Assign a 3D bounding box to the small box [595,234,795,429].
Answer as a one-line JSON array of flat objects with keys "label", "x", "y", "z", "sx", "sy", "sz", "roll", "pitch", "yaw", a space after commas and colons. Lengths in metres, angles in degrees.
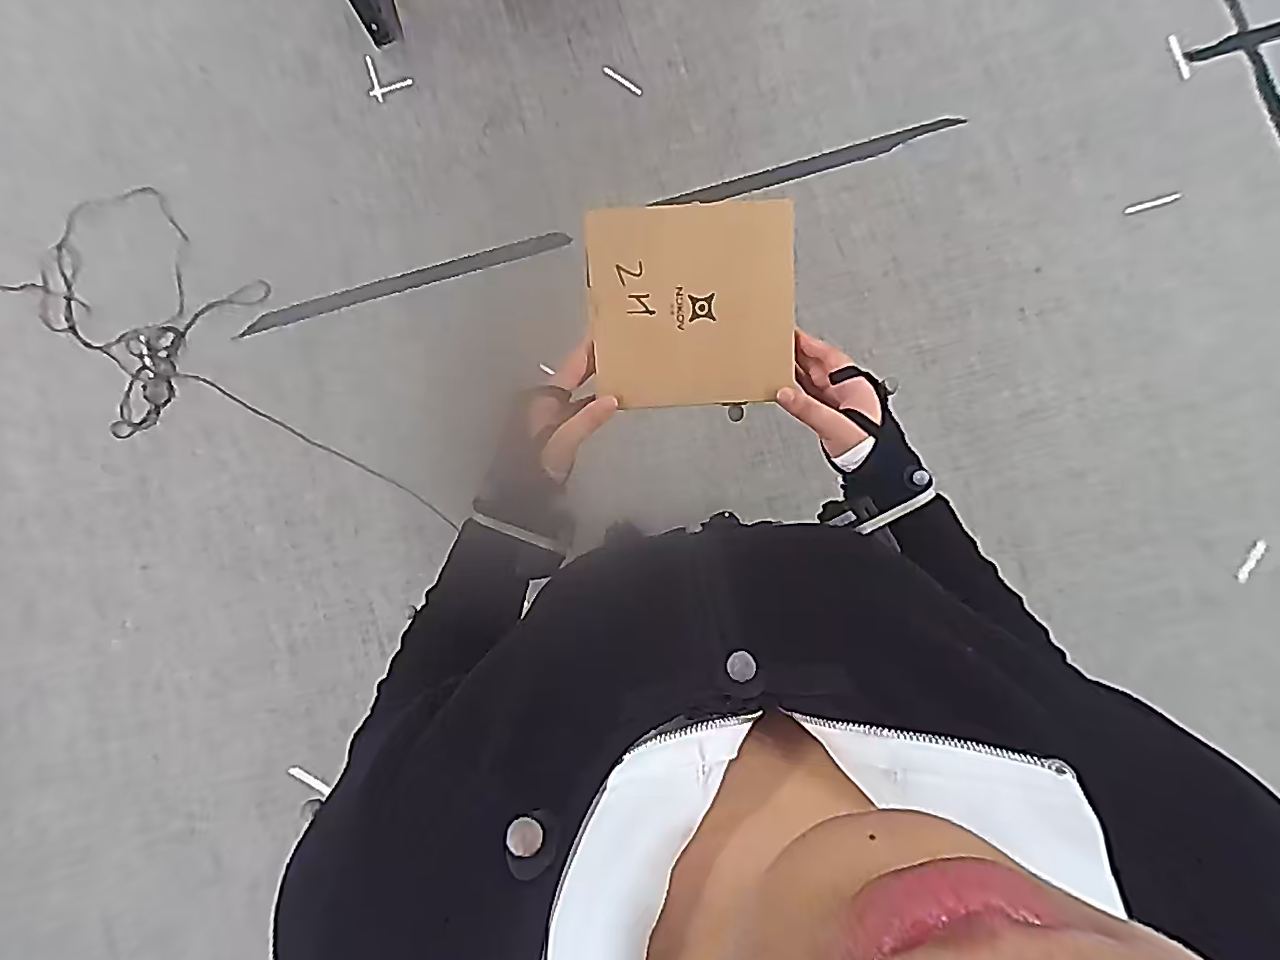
[{"label": "small box", "x": 0.049, "y": -0.142, "z": 0.556, "sx": 0.179, "sy": 0.176, "sz": 0.168, "roll": -2, "pitch": 98, "yaw": 1}]
